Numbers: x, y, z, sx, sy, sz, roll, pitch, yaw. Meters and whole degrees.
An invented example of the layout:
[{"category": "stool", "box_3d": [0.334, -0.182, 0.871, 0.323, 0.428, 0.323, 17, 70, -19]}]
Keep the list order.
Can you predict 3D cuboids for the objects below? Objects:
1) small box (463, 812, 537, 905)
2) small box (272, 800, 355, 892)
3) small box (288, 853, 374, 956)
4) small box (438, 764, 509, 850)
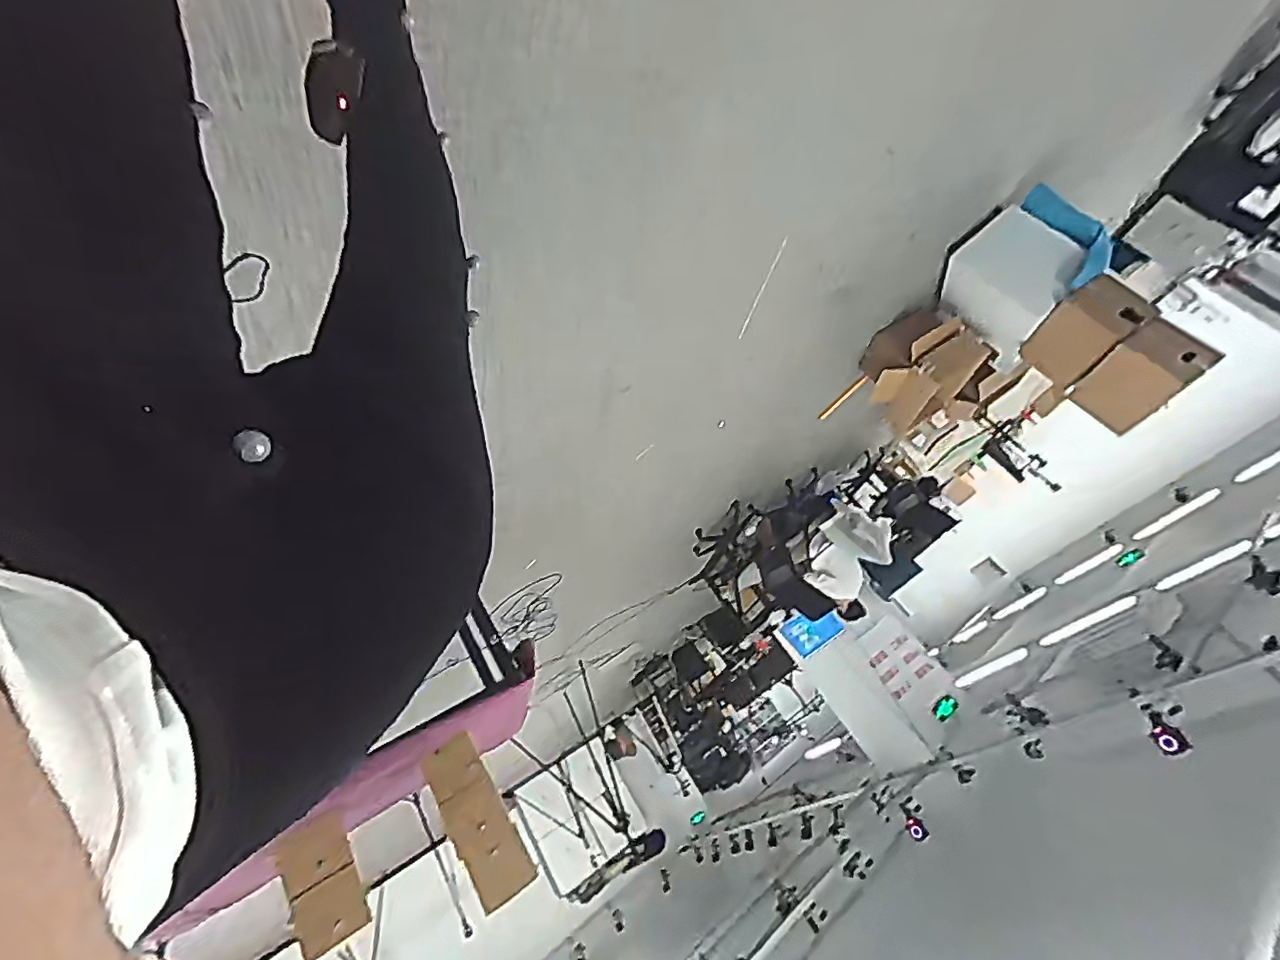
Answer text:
[{"category": "small box", "box_3d": [-0.442, 1.181, 1.694, 0.179, 0.176, 0.168, -24, 155, -26]}, {"category": "small box", "box_3d": [-0.986, 1.109, 1.637, 0.179, 0.176, 0.168, -16, 149, -37]}, {"category": "small box", "box_3d": [-0.895, 1.226, 1.570, 0.179, 0.176, 0.168, -17, 149, -37]}, {"category": "small box", "box_3d": [-0.536, 1.054, 1.741, 0.179, 0.176, 0.168, -26, 155, -25]}]
